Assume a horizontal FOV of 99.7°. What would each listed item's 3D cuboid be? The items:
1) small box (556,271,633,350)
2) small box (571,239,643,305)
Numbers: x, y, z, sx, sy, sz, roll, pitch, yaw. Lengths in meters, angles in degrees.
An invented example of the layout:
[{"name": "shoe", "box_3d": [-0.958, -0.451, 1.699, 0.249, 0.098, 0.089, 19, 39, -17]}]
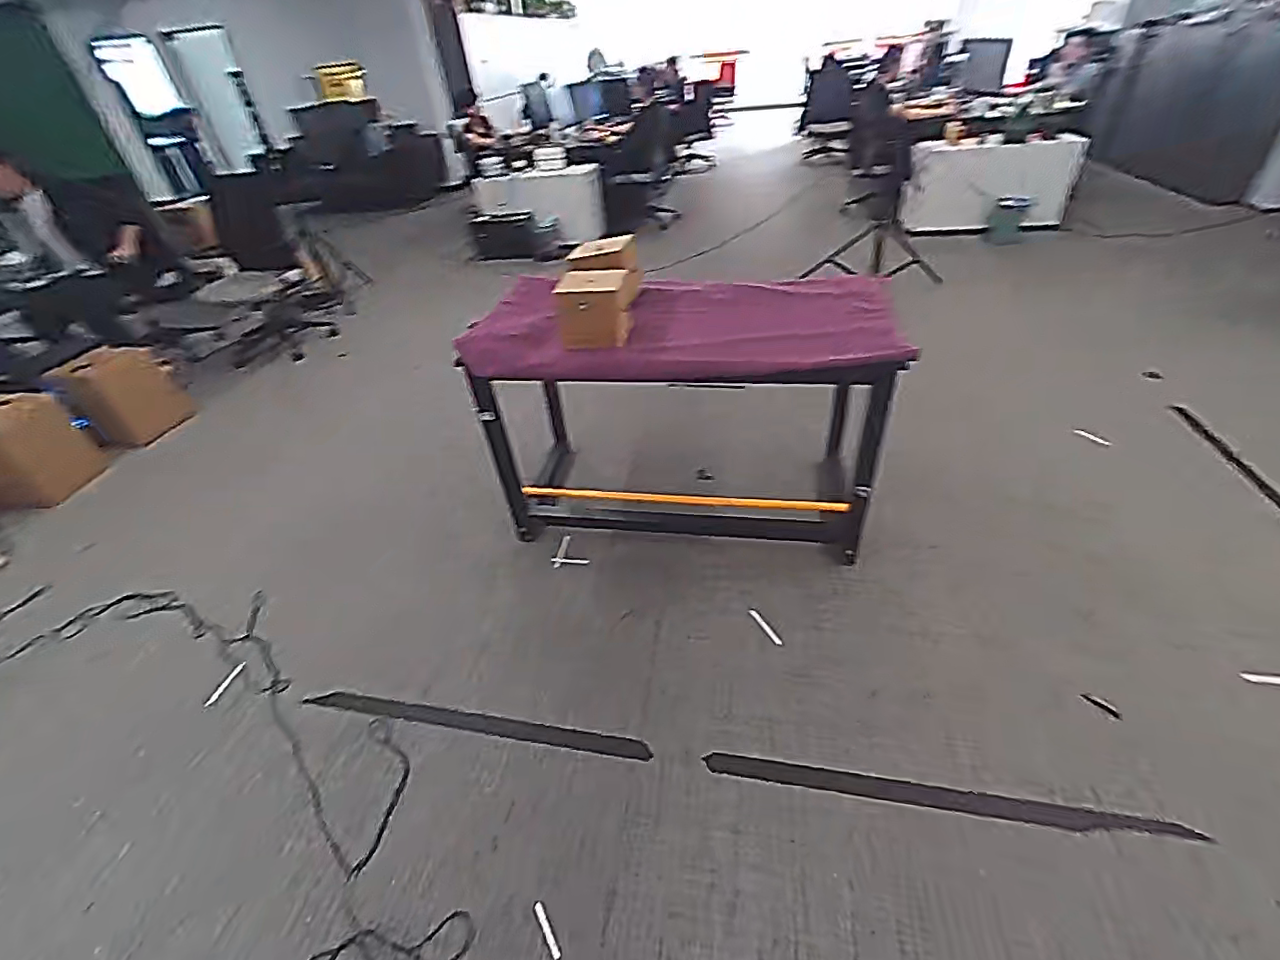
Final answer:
[{"name": "small box", "box_3d": [-0.121, -0.481, 1.542, 0.179, 0.176, 0.168, 2, 39, 10]}, {"name": "small box", "box_3d": [-0.097, -0.665, 1.747, 0.179, 0.168, 0.176, -1, 37, 18]}]
